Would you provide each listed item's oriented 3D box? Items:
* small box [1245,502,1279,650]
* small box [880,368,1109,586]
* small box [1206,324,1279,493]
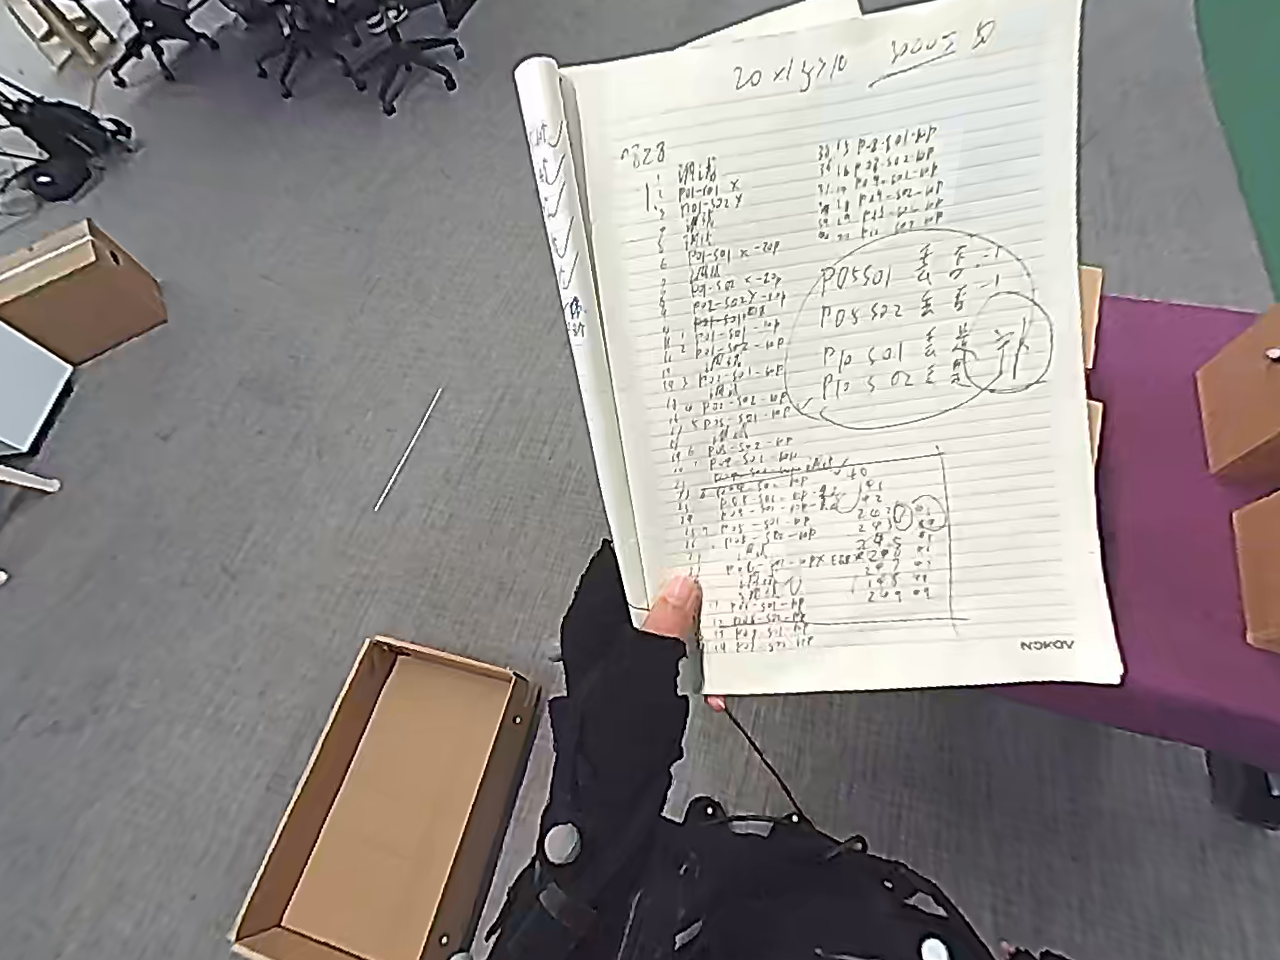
[{"bbox_3d":[0.775,0.103,0.541,0.168,0.176,0.179,17,66,17],"label":"small box"},{"bbox_3d":[0.405,0.003,0.645,0.168,0.176,0.179,21,66,18],"label":"small box"},{"bbox_3d":[0.830,-0.092,0.637,0.168,0.176,0.179,14,66,15],"label":"small box"}]
